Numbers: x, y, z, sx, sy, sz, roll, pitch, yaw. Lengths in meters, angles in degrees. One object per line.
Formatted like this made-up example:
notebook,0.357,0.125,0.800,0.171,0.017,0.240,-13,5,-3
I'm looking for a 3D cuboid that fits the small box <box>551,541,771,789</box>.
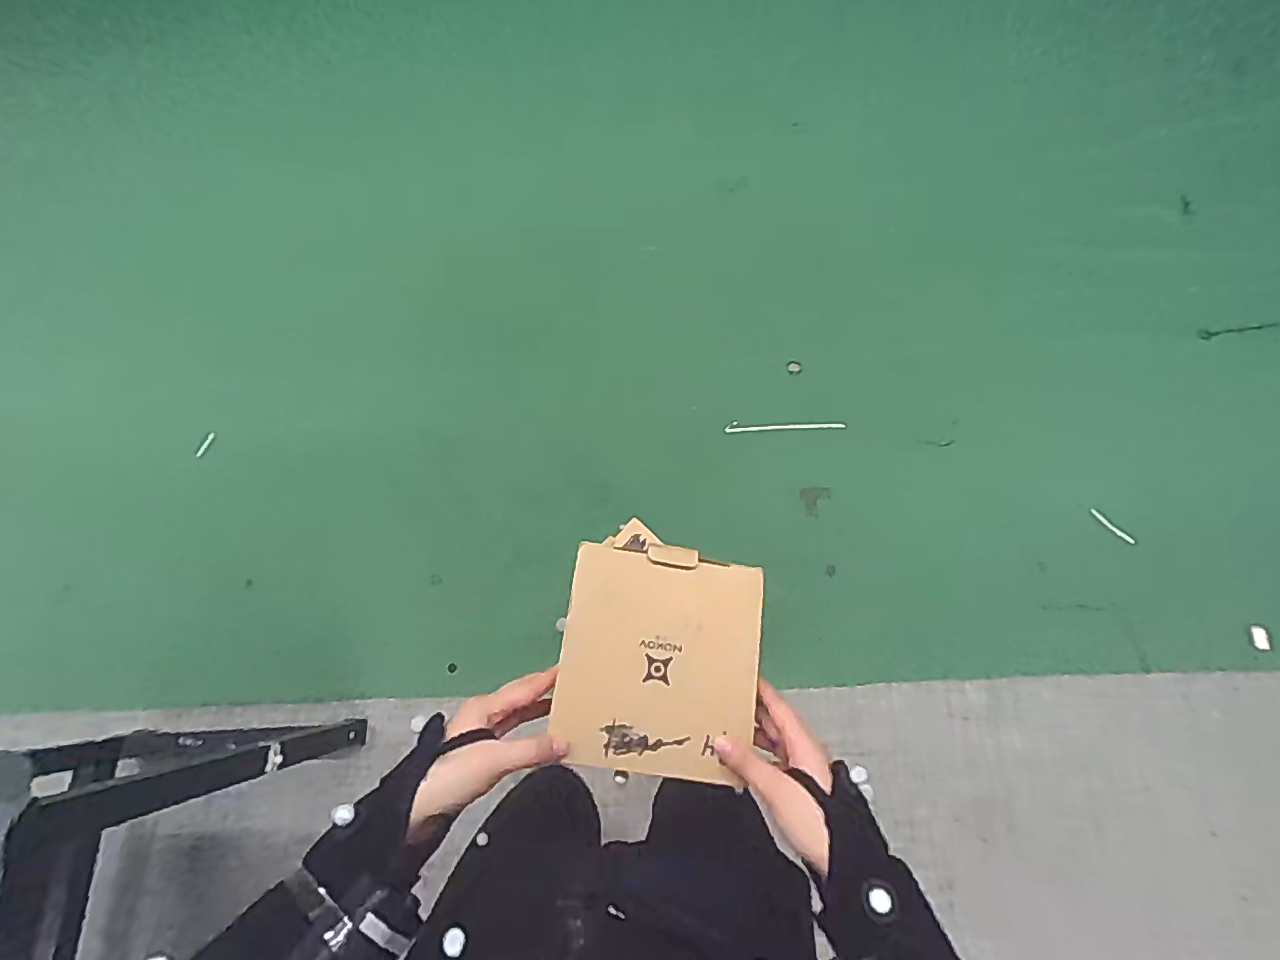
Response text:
small box,0.015,0.168,0.517,0.168,0.176,0.179,8,74,-2
